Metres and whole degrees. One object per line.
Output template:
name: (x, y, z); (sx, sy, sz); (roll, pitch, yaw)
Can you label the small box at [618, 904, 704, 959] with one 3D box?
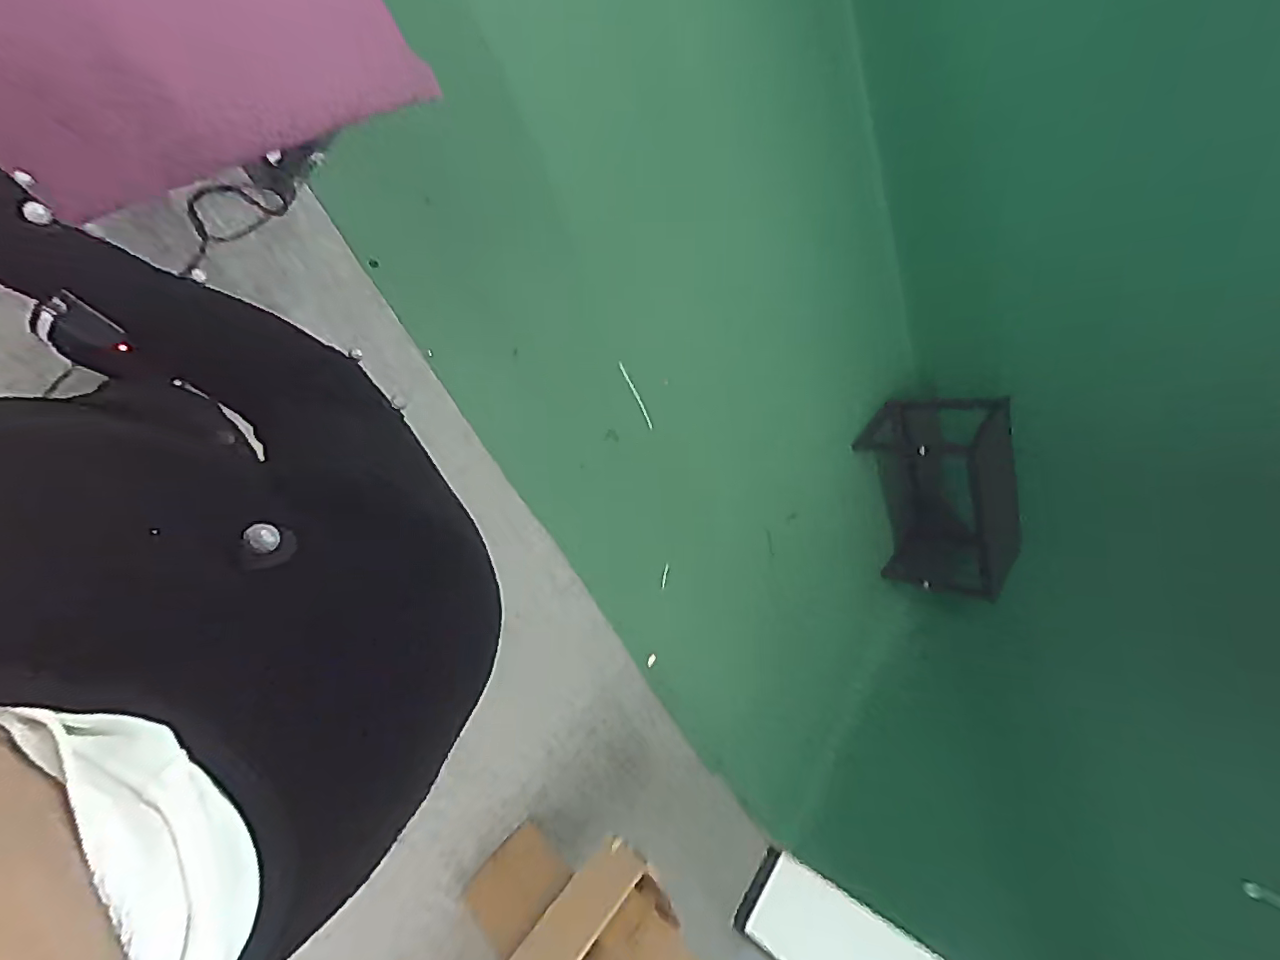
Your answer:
small box: (0.063, 1.452, 1.649); (0.168, 0.176, 0.179); (-43, 123, -32)
